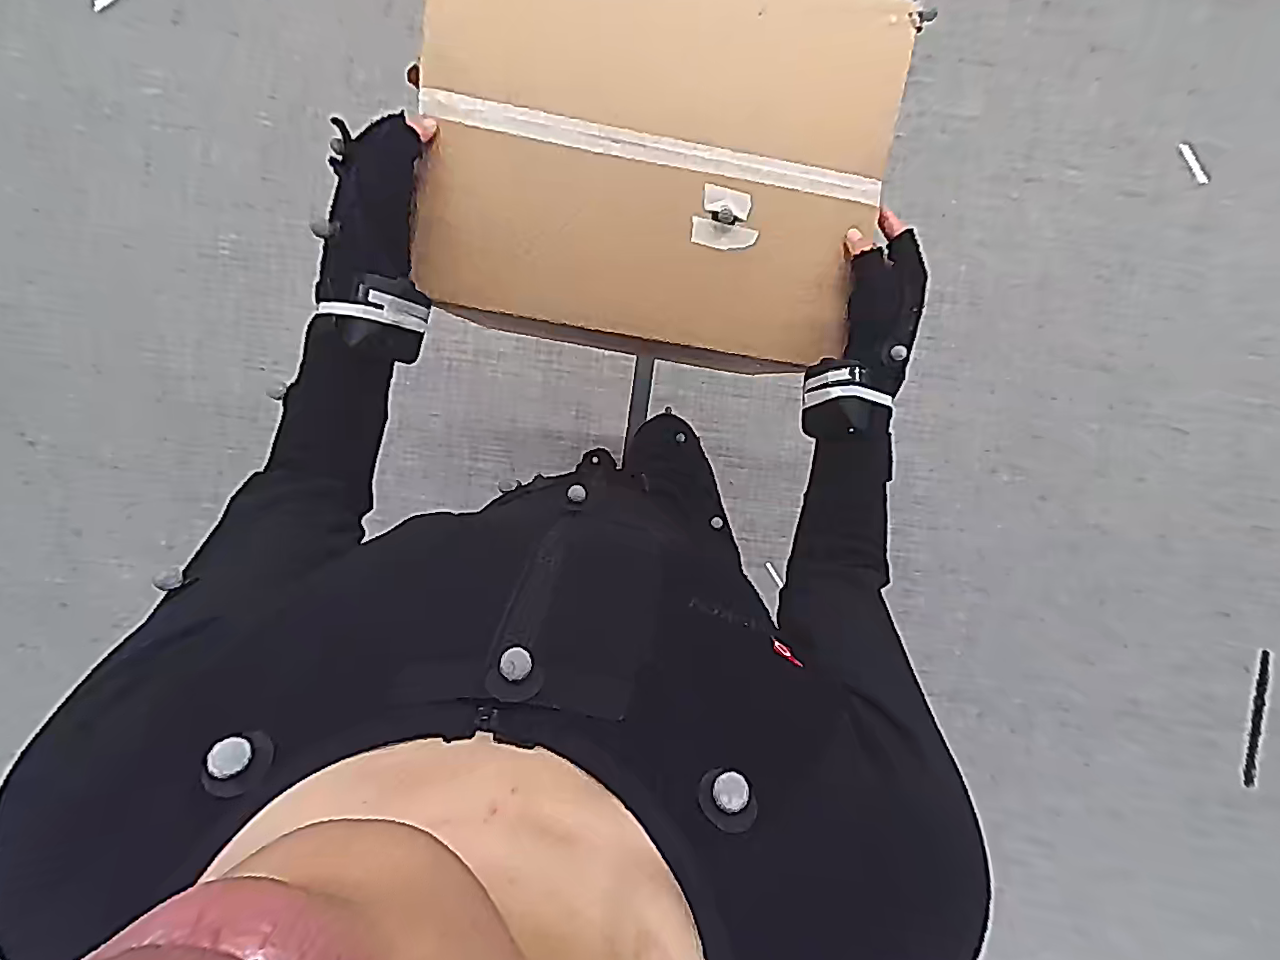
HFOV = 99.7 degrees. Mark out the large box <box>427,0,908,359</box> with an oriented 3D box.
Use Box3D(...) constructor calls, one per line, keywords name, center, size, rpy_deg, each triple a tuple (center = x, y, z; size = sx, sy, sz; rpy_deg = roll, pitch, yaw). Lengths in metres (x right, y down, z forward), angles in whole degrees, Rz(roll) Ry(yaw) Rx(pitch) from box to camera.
Box3D(name="large box", center=(0.009, -0.330, 0.630), size=(0.408, 0.320, 0.320), rpy_deg=(9, 101, -6))
